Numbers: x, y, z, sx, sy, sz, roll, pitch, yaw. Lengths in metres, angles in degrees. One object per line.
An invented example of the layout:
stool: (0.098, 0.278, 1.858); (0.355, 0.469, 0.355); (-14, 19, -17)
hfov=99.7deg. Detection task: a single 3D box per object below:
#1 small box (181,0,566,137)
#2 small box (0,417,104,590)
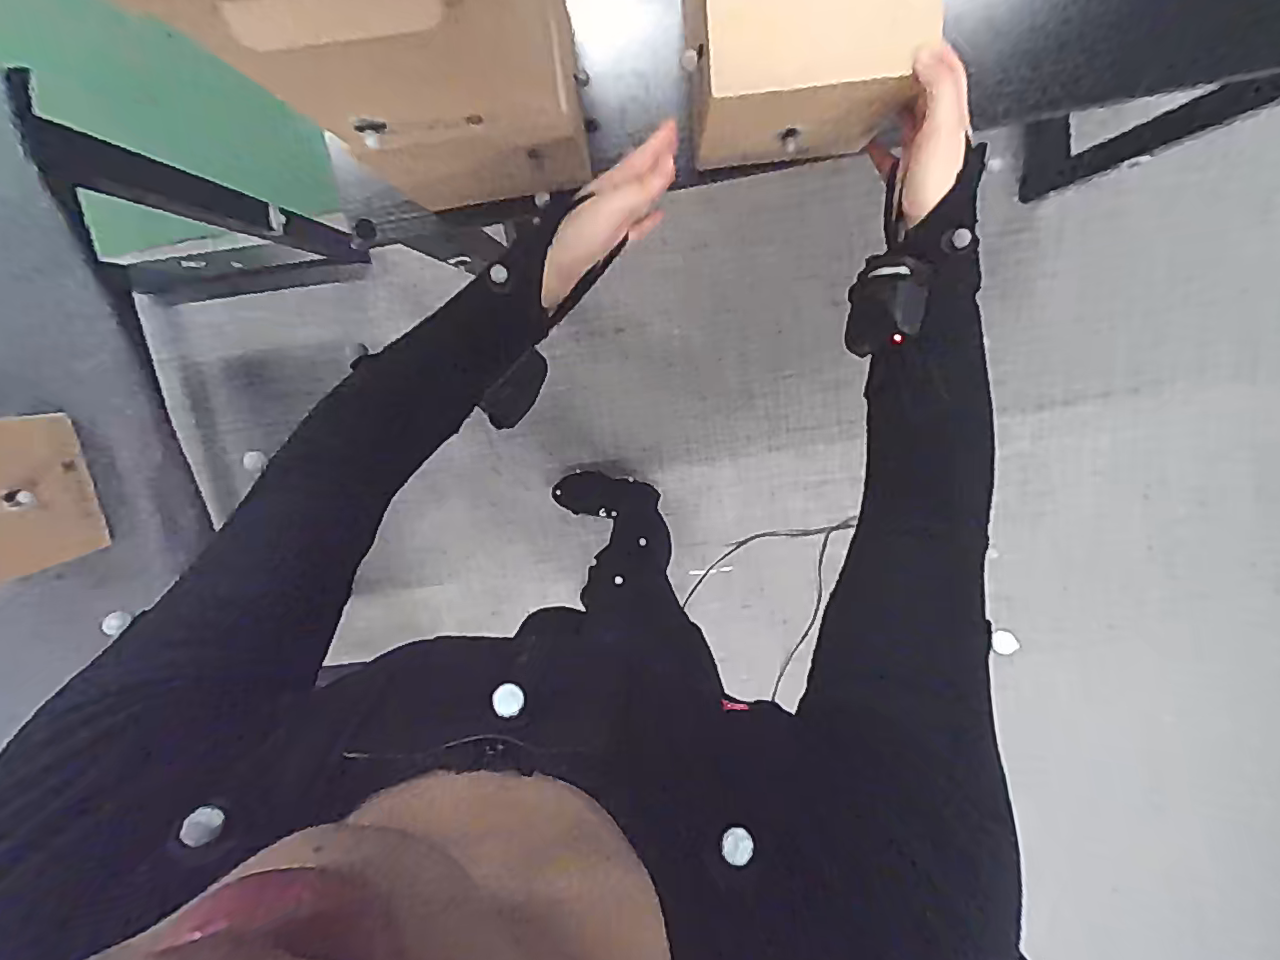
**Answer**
small box: (-0.142, -0.321, 0.306); (0.168, 0.176, 0.179); (-6, 102, 2)
small box: (-0.736, 0.029, 0.575); (0.179, 0.176, 0.168); (-5, 104, 4)
